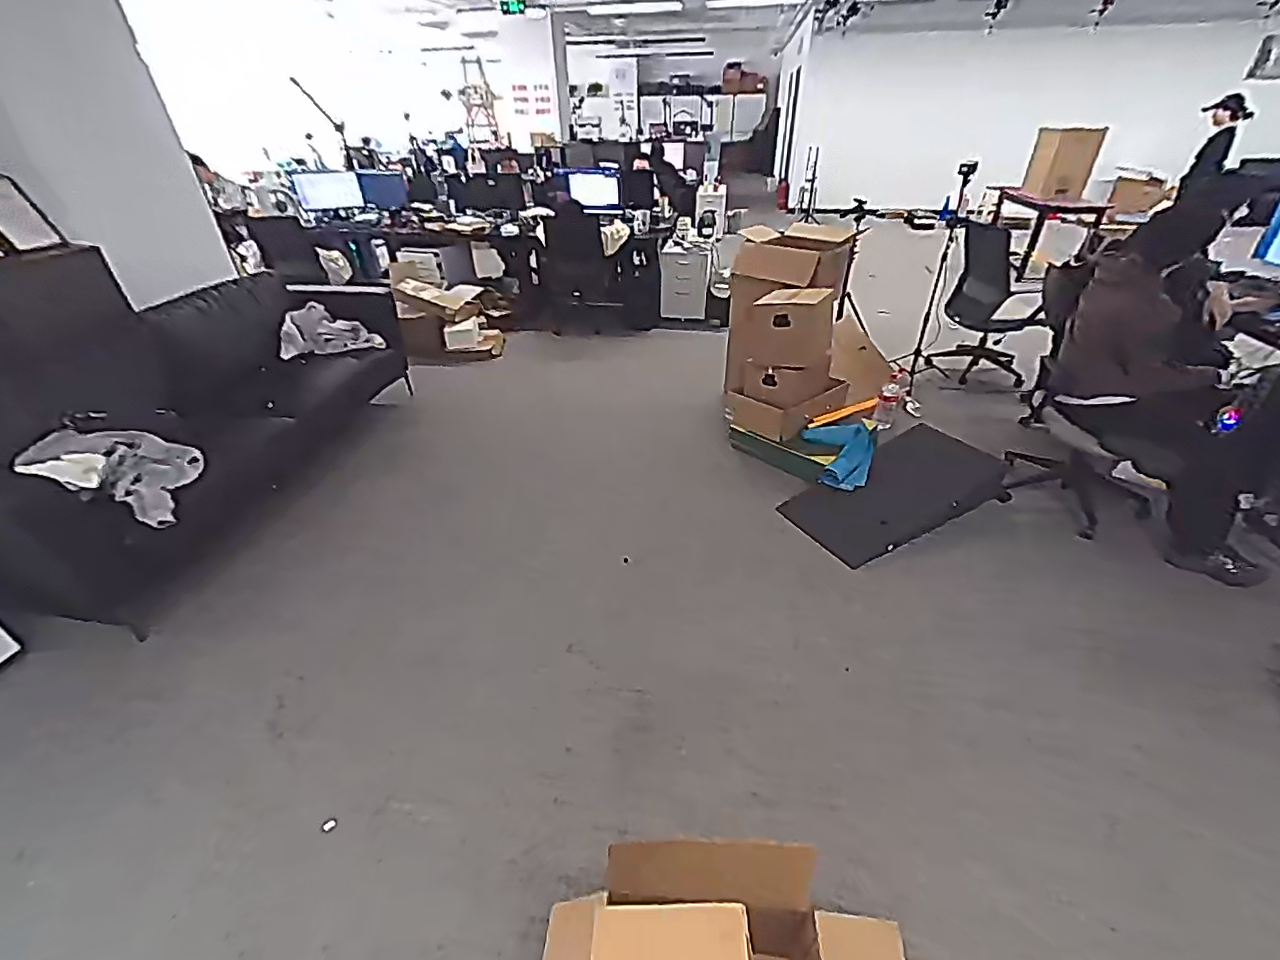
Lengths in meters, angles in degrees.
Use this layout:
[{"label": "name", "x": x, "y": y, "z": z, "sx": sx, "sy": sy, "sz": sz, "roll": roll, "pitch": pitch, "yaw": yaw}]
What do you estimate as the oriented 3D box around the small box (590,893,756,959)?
[{"label": "small box", "x": 0.042, "y": 0.583, "z": 0.580, "sx": 0.179, "sy": 0.176, "sz": 0.168, "roll": -7, "pitch": 23, "yaw": 9}]
